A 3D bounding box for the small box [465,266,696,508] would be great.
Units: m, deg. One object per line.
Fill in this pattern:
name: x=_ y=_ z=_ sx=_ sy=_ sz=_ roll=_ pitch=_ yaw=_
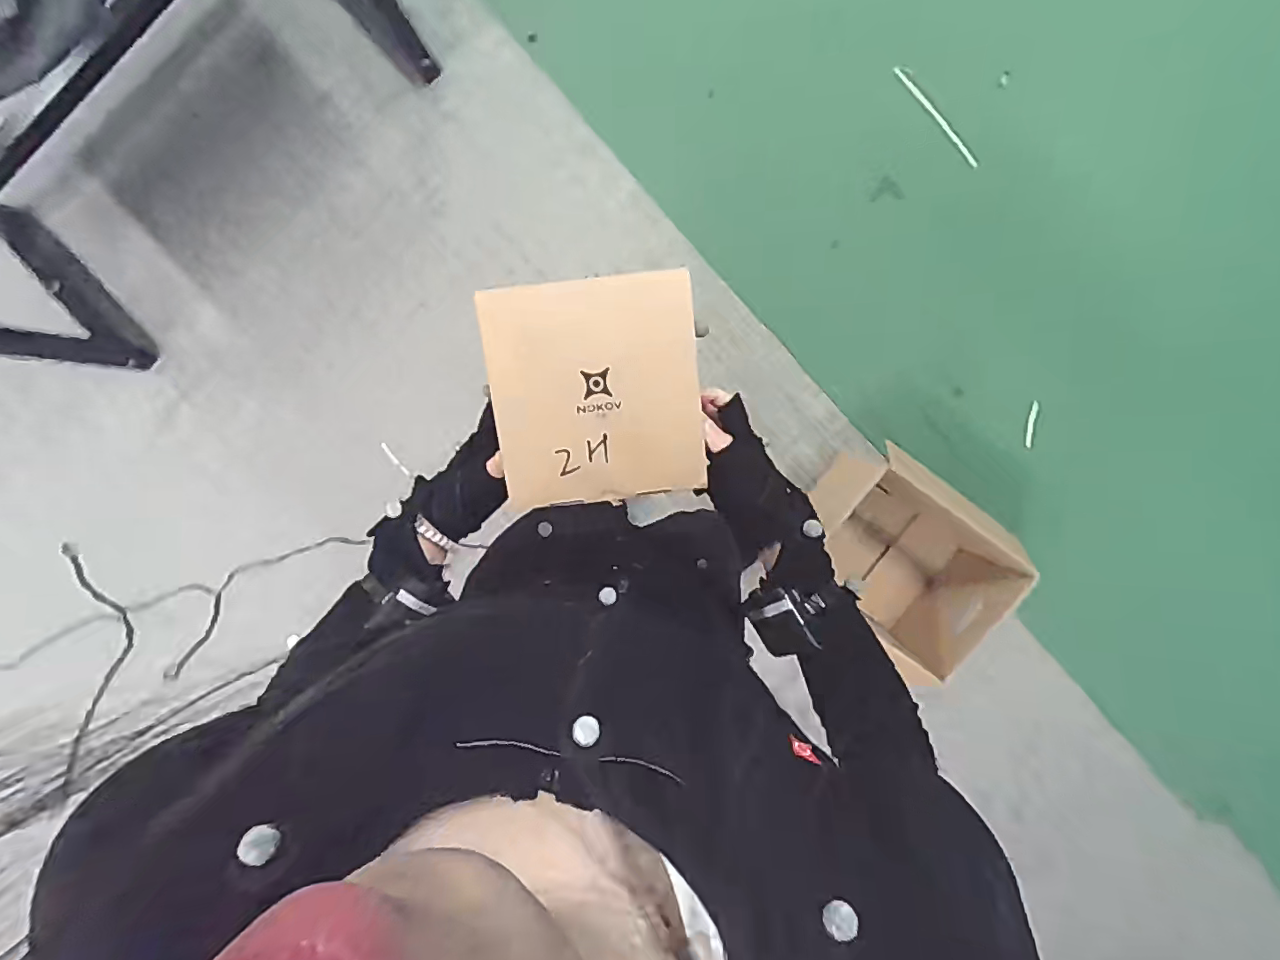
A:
small box: x=-0.048 y=-0.086 z=0.503 sx=0.168 sy=0.176 sz=0.179 roll=-7 pitch=103 yaw=-1
